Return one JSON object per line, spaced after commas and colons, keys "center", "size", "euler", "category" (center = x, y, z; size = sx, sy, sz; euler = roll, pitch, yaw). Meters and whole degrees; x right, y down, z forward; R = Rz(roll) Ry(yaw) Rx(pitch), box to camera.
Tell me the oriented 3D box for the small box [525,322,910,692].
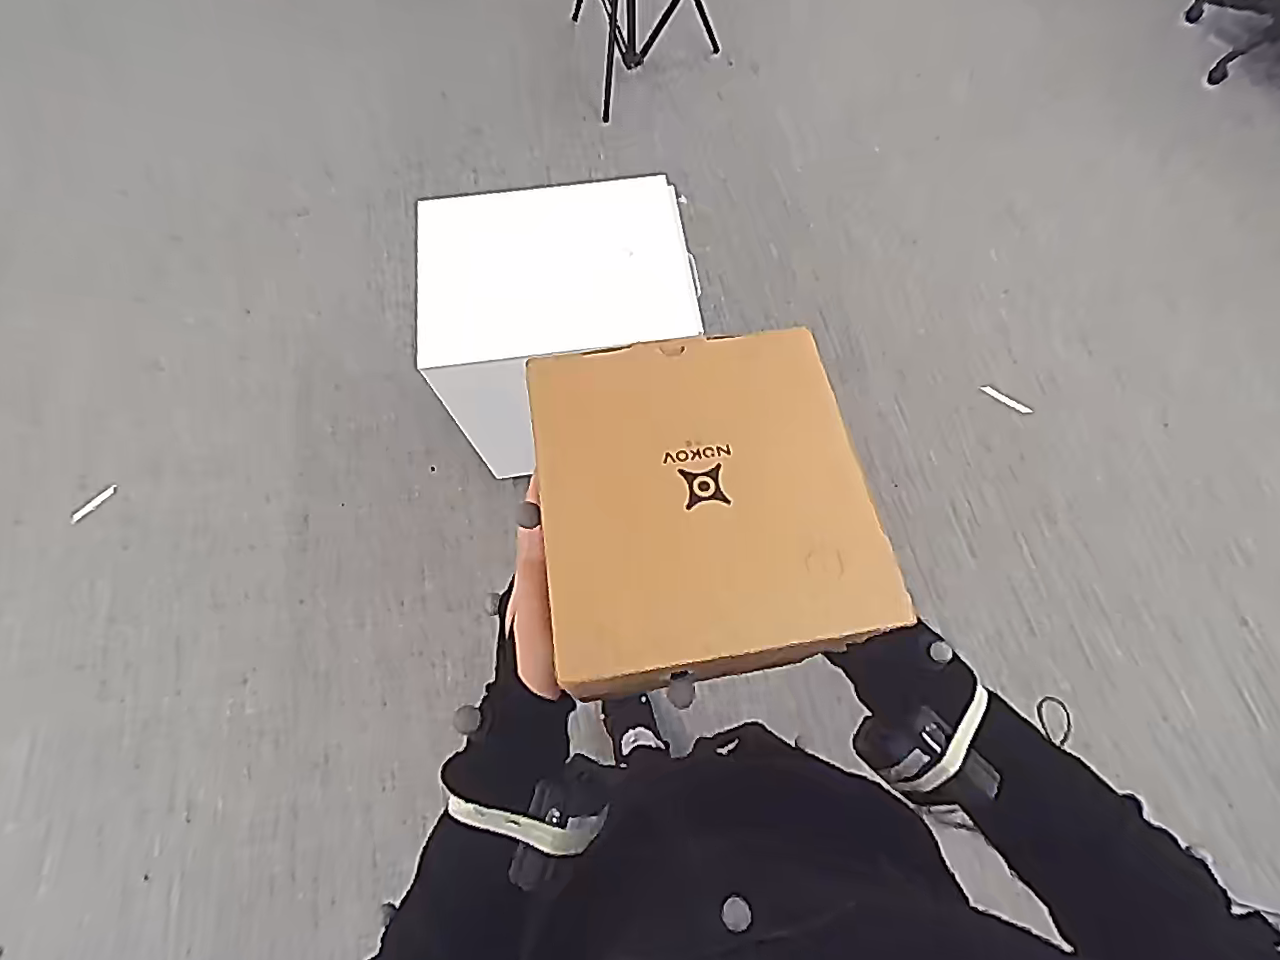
{"center": [0.028, 0.030, 0.343], "size": [0.168, 0.176, 0.179], "euler": [-8, 65, -6], "category": "small box"}
